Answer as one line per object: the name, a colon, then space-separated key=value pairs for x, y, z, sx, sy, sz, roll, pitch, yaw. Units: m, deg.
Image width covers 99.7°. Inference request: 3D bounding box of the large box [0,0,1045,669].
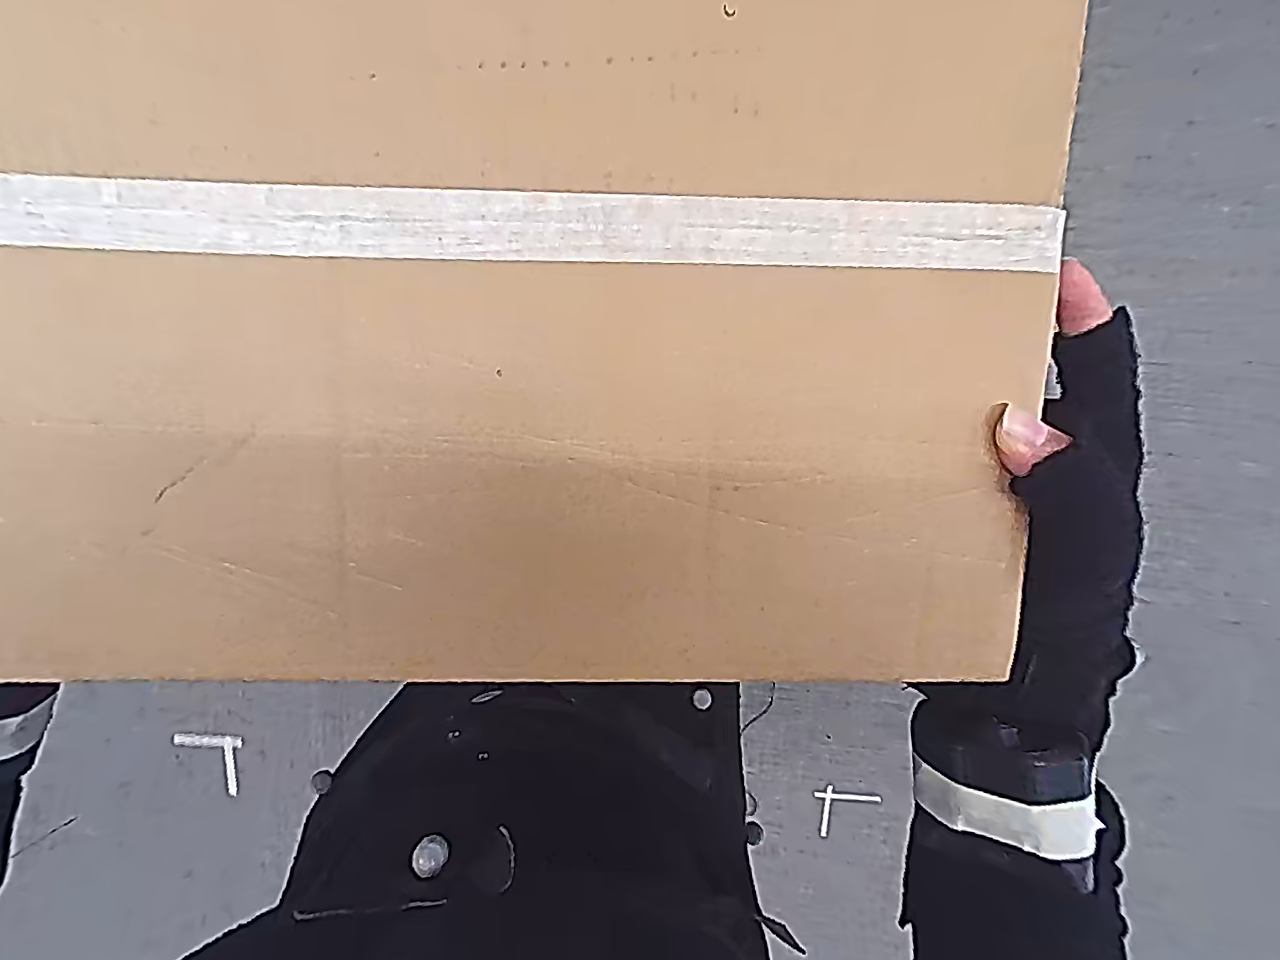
large box: x=-0.069 y=-0.102 z=0.334 sx=0.408 sy=0.320 sz=0.320 roll=1 pitch=97 yaw=-2
